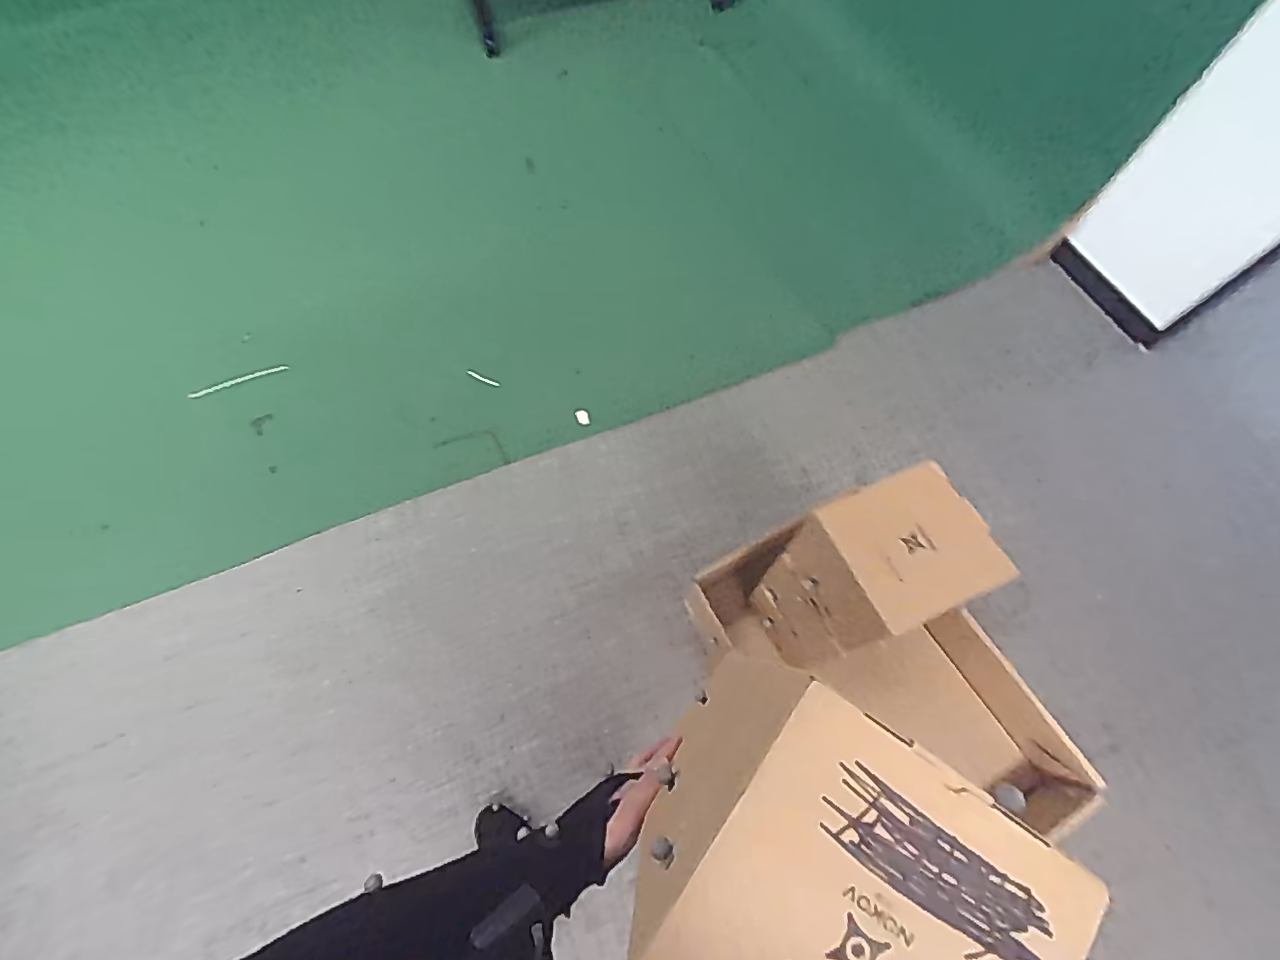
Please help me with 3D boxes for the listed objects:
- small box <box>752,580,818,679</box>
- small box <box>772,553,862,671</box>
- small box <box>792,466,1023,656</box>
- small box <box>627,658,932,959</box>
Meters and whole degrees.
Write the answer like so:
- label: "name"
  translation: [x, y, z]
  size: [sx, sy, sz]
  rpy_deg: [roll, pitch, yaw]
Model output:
- label: "small box"
  translation: [0.323, 0.248, 0.997]
  size: [0.179, 0.176, 0.168]
  rpy_deg: [-26, 68, -12]
- label: "small box"
  translation: [0.324, 0.182, 0.846]
  size: [0.179, 0.176, 0.168]
  rpy_deg: [-22, 68, -11]
- label: "small box"
  translation: [0.325, 0.111, 0.699]
  size: [0.179, 0.176, 0.168]
  rpy_deg: [-21, 67, -9]
- label: "small box"
  translation: [0.109, 0.281, 0.481]
  size: [0.168, 0.176, 0.179]
  rpy_deg: [35, 78, 11]
